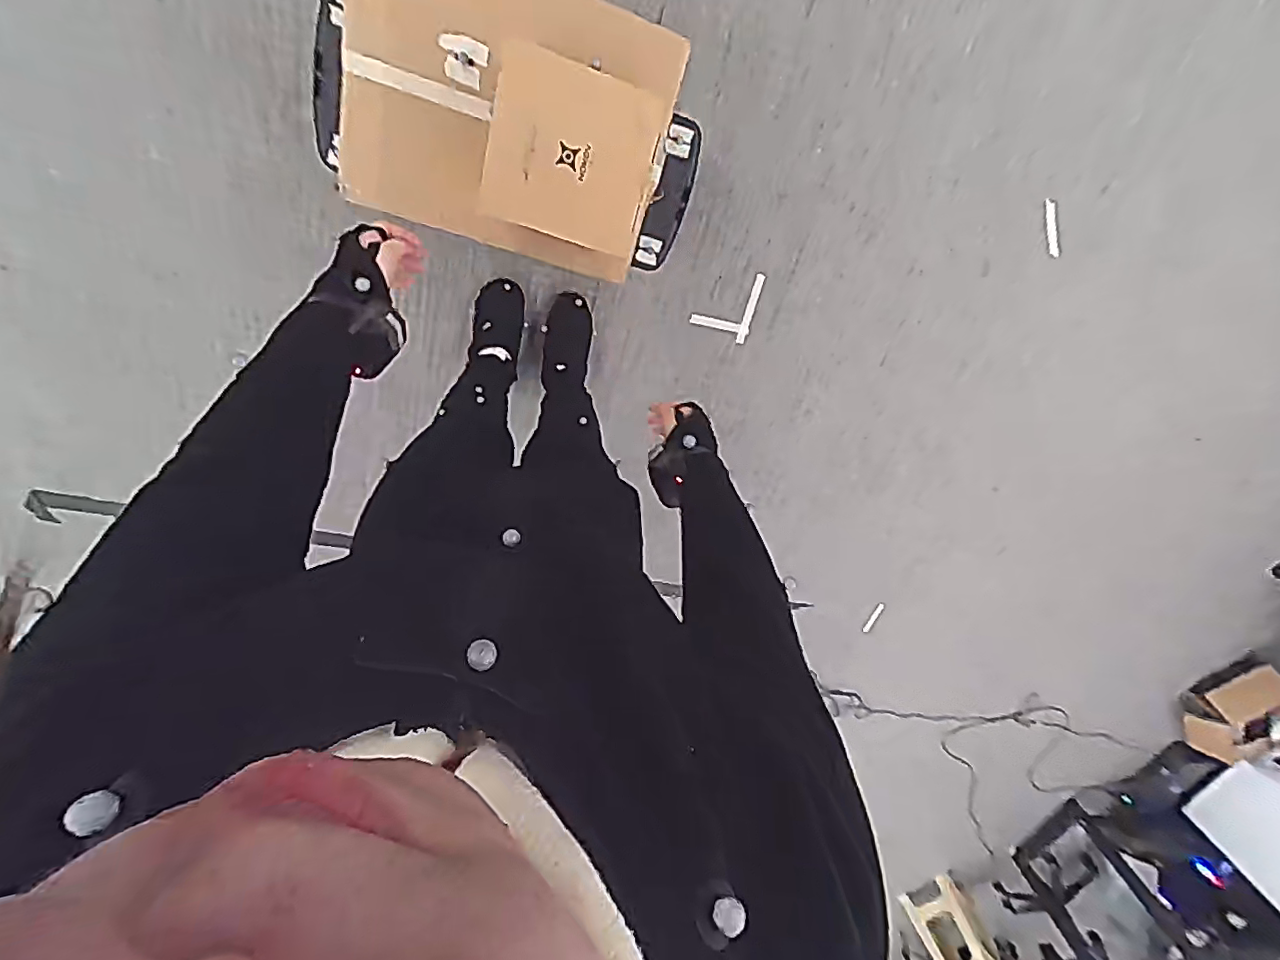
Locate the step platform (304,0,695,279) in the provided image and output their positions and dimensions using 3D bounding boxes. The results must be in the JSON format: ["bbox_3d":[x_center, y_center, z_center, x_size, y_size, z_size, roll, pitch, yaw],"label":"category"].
[{"bbox_3d":[-0.241,-0.642,1.032,0.684,0.204,0.286,17,116,-16],"label":"step platform"}]

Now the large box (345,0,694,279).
[{"bbox_3d":[-0.175,-0.539,0.823,0.408,0.320,0.320,12,117,-14],"label":"large box"}]

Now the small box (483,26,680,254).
[{"bbox_3d":[-0.073,-0.390,0.639,0.179,0.176,0.168,13,118,-15],"label":"small box"}]
